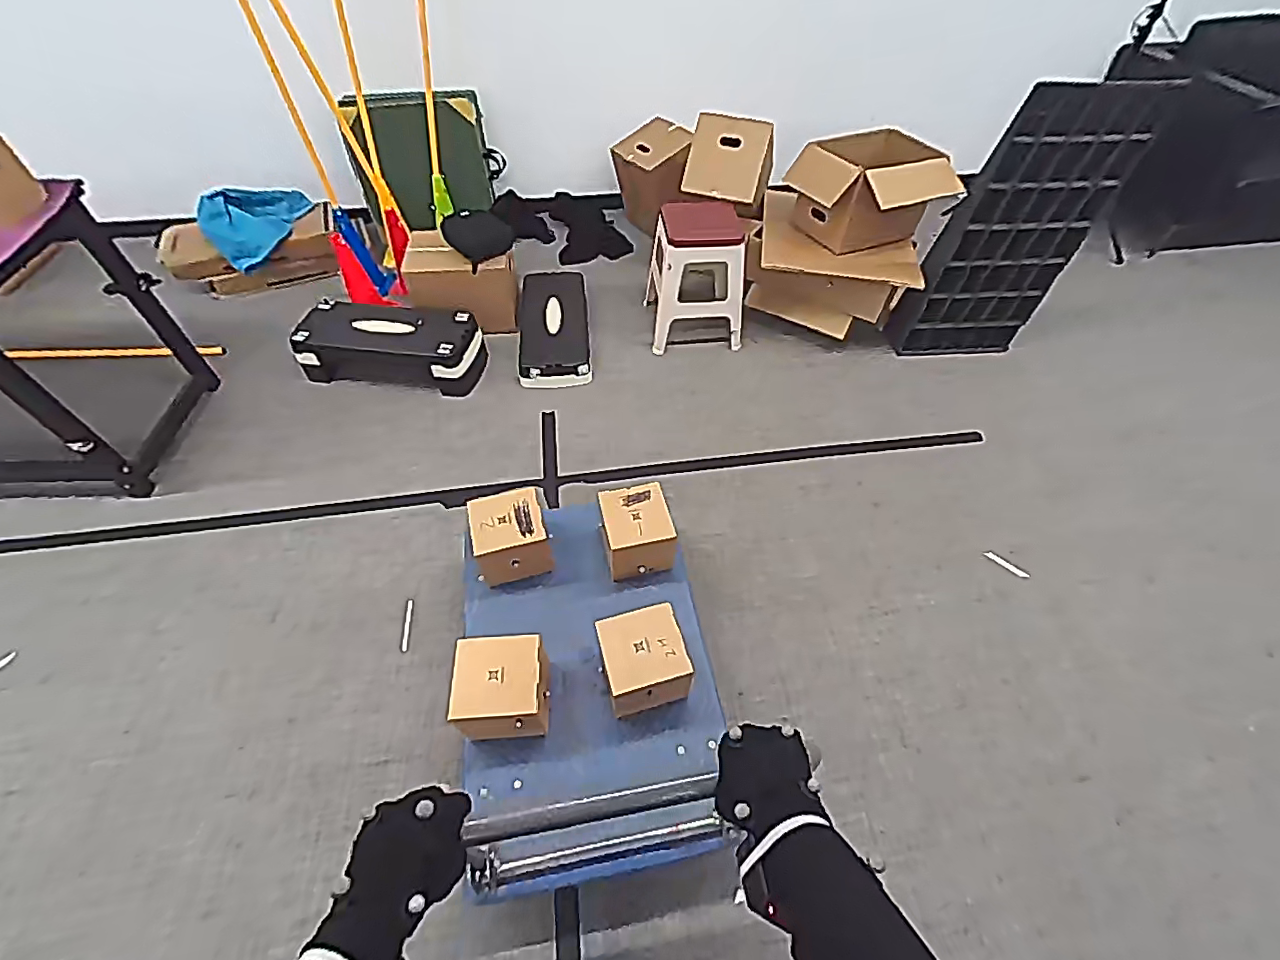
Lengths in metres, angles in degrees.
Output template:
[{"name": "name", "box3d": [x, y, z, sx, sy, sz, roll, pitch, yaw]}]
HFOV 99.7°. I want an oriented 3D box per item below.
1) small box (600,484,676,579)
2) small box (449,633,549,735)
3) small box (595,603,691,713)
[{"name": "small box", "box3d": [-0.010, 0.137, 1.424, 0.168, 0.176, 0.179, -10, 54, -9]}, {"name": "small box", "box3d": [-0.297, 0.447, 1.179, 0.179, 0.176, 0.168, -2, 52, -4]}, {"name": "small box", "box3d": [0.004, 0.404, 1.216, 0.179, 0.176, 0.168, -12, 54, -10]}]
